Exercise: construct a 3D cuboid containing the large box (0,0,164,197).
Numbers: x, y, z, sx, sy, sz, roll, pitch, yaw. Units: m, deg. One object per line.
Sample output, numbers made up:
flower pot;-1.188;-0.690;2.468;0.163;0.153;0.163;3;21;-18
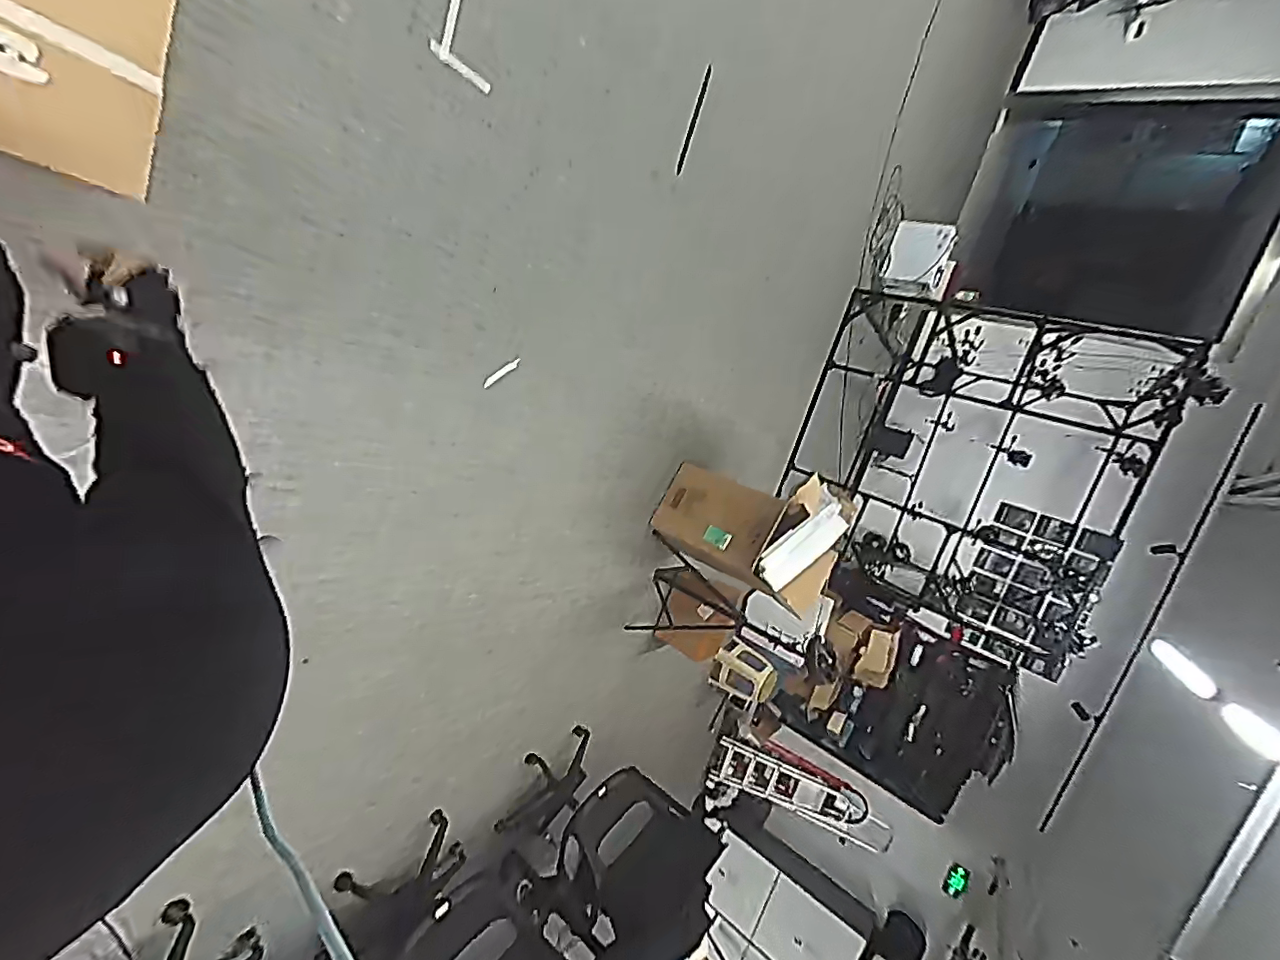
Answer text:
large box;-0.905;-0.599;0.657;0.408;0.320;0.320;4;107;-58
